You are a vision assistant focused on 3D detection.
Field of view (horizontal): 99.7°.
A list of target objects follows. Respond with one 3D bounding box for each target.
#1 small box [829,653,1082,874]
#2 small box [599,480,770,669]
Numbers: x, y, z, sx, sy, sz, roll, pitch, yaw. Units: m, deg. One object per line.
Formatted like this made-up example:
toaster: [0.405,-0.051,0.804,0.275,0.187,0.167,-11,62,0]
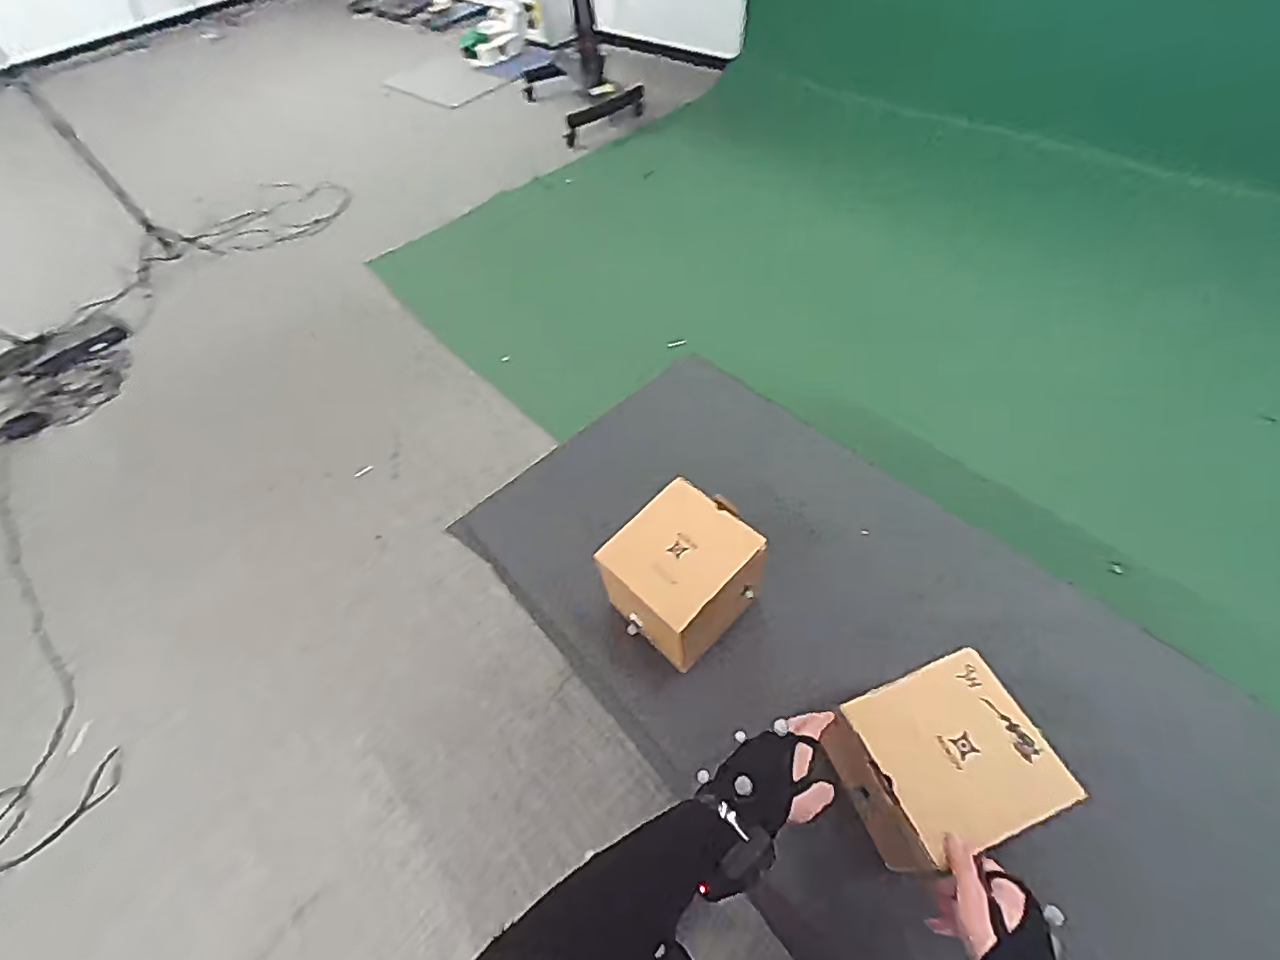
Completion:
small box: [0.339,0.334,0.629,0.179,0.176,0.168,-20,54,-6]
small box: [0.065,0.140,0.792,0.179,0.176,0.168,-40,58,-20]
